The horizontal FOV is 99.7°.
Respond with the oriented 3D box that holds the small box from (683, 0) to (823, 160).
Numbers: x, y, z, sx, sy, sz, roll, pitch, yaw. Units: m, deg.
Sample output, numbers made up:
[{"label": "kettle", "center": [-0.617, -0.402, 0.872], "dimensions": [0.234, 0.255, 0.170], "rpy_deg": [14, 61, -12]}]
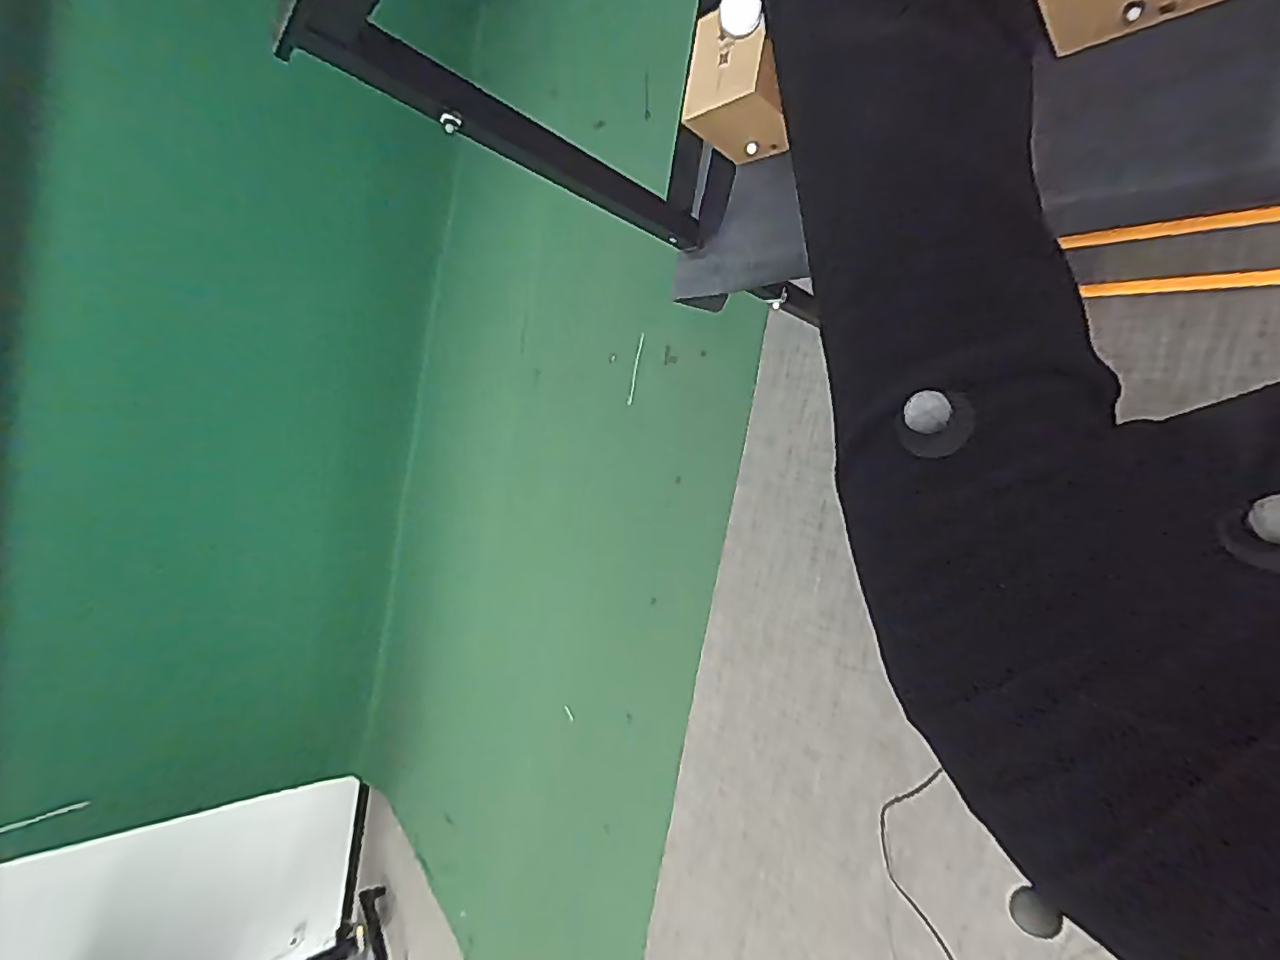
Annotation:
[{"label": "small box", "center": [0.203, -0.703, 0.945], "dimensions": [0.168, 0.176, 0.179], "rpy_deg": [15, 98, 48]}]
